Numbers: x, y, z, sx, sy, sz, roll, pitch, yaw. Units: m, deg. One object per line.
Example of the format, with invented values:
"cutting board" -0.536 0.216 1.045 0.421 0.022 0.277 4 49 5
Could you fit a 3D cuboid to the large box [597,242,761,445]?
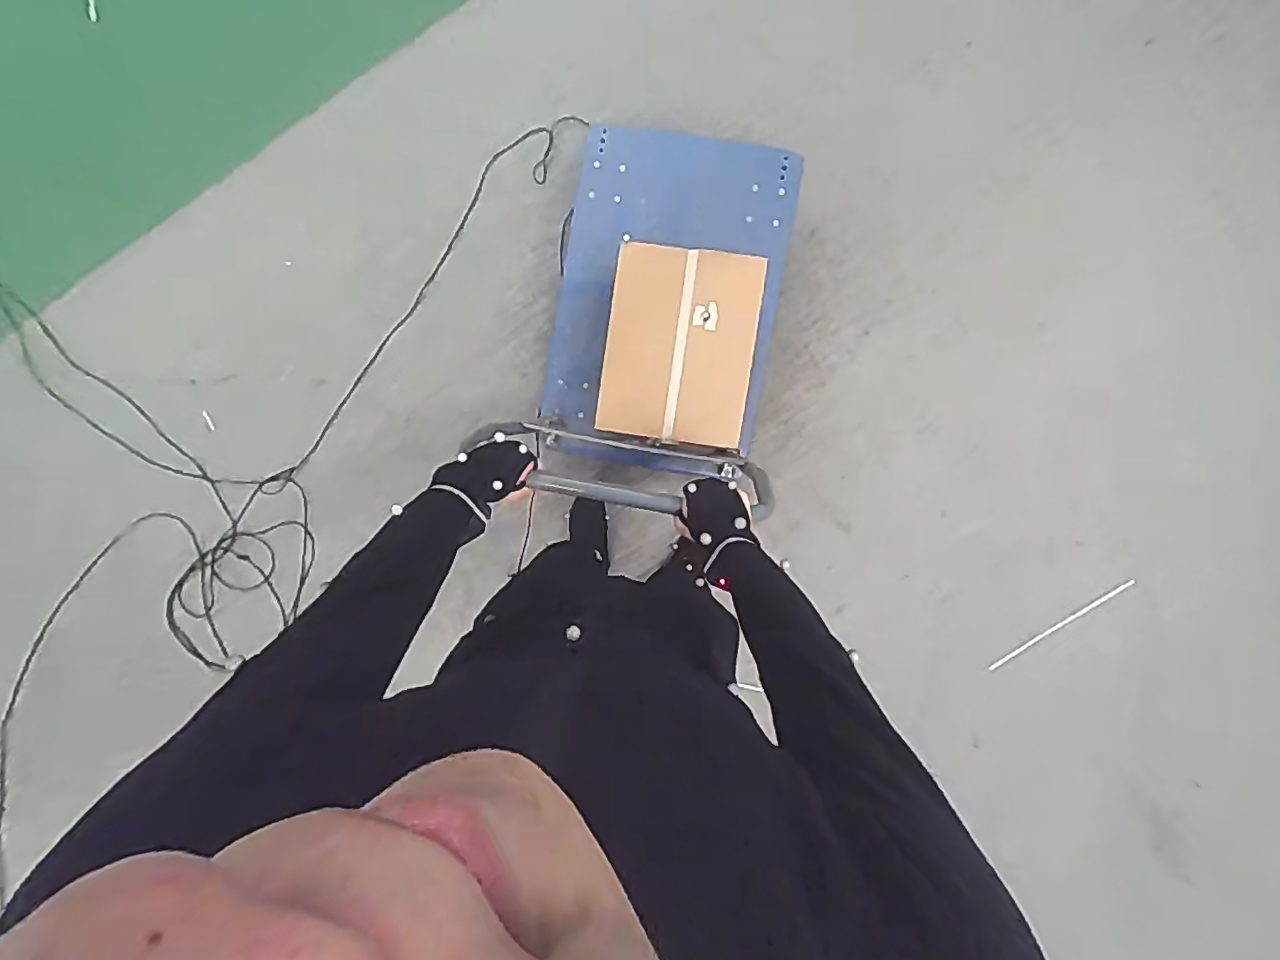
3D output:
"large box" 0.092 -0.302 1.314 0.320 0.320 0.408 9 93 2
